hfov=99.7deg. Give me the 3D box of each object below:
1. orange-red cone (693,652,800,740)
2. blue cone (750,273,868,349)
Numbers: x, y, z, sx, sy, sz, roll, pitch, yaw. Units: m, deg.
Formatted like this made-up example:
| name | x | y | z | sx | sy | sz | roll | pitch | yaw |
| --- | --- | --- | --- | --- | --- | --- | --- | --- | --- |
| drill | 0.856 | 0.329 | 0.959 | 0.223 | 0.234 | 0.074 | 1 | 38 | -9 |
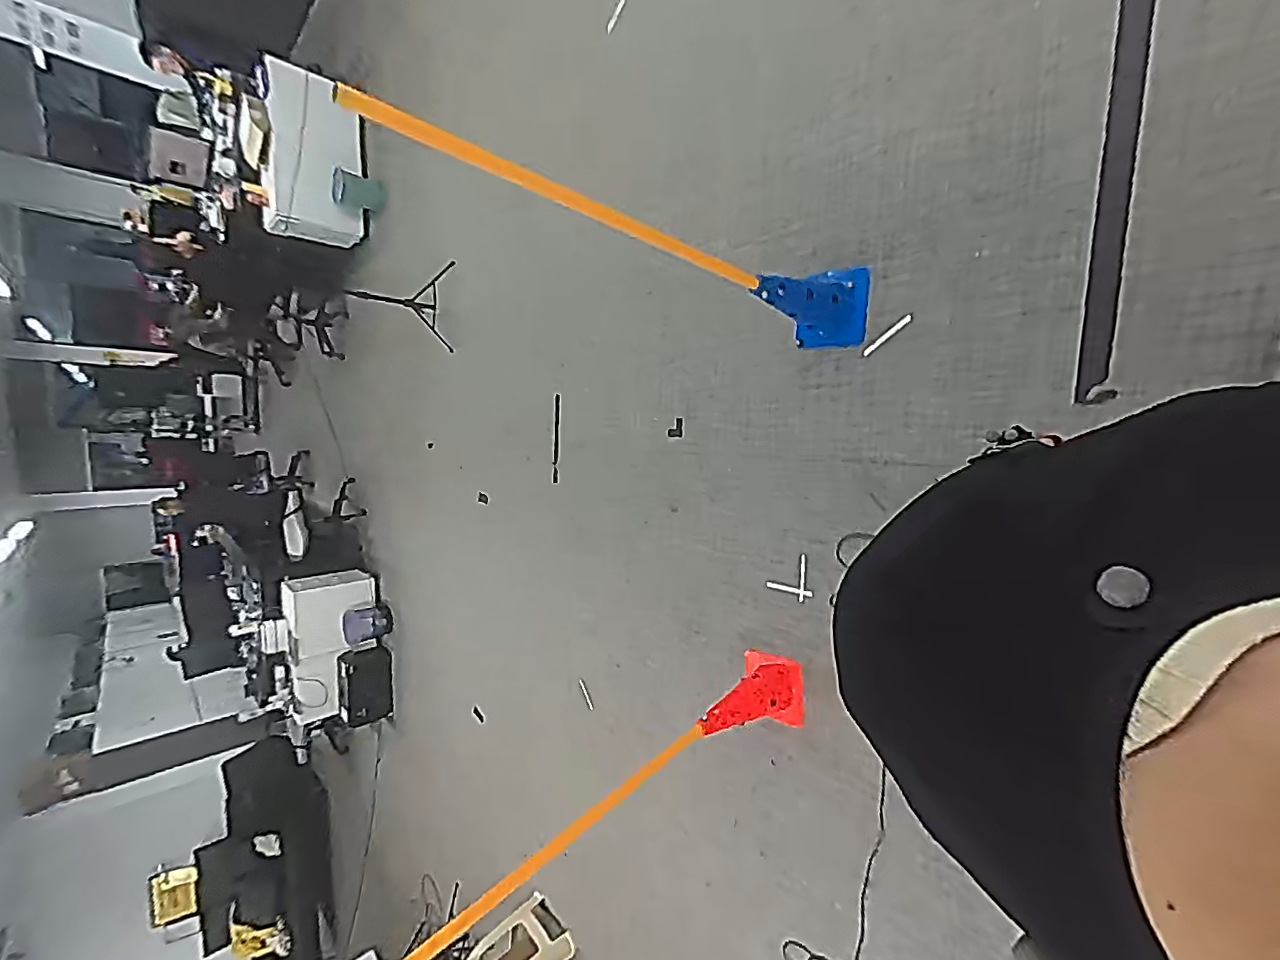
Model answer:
| name | x | y | z | sx | sy | sz | roll | pitch | yaw |
| --- | --- | --- | --- | --- | --- | --- | --- | --- | --- |
| orange-red cone | 0.278 | 0.647 | 1.530 | 0.199 | 0.360 | 0.198 | 0 | 94 | 46 |
| blue cone | 0.397 | -0.441 | 1.340 | 0.193 | 0.380 | 0.192 | 12 | 102 | 46 |
